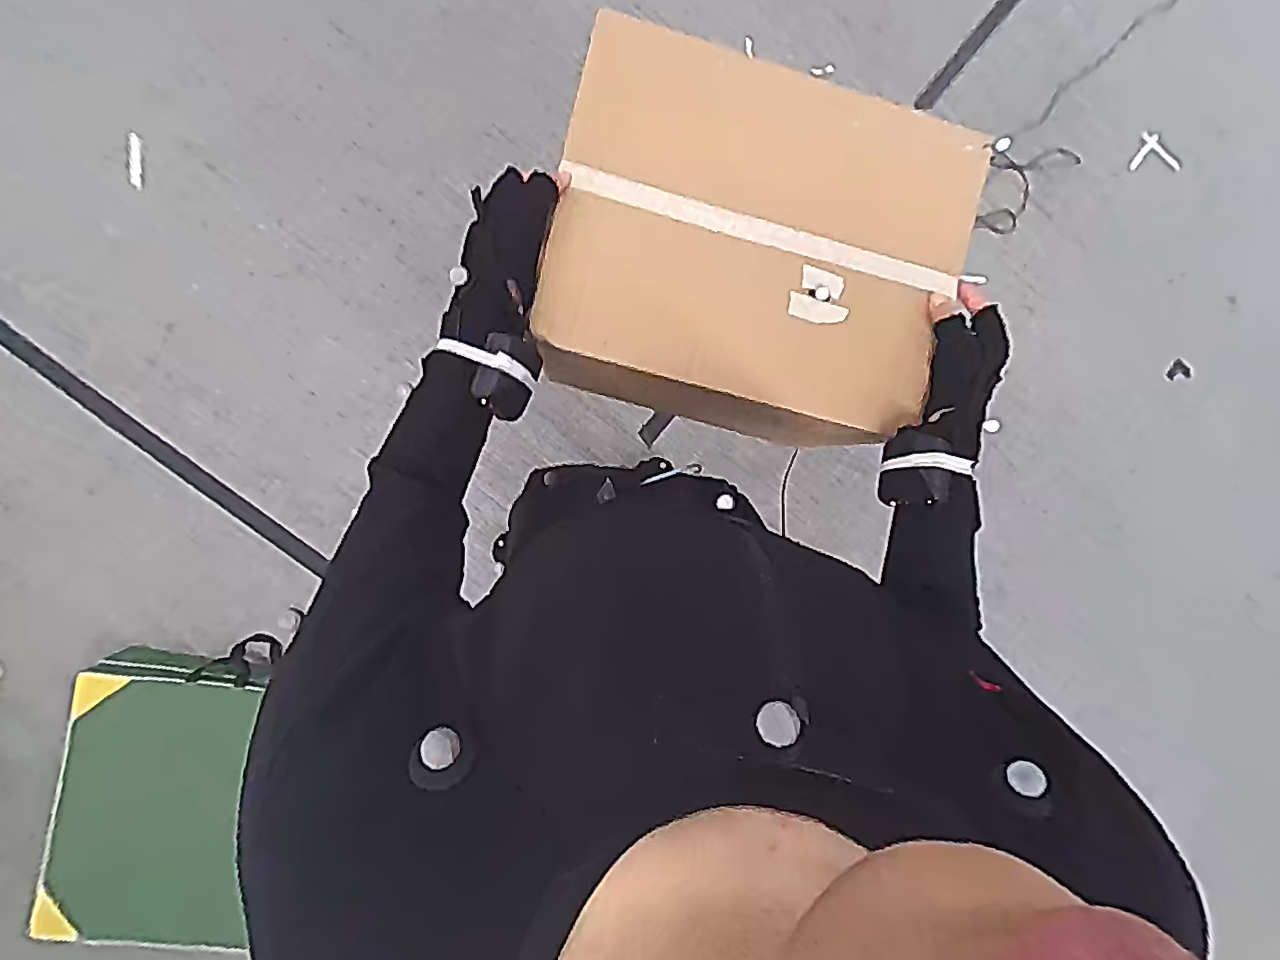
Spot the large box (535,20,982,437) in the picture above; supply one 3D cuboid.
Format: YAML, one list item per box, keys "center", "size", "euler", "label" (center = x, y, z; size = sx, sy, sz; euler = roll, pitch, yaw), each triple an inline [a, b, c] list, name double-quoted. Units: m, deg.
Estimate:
- center: [0.109, -0.252, 0.684]
  size: [0.408, 0.320, 0.320]
  euler: [15, 93, -6]
  label: "large box"
